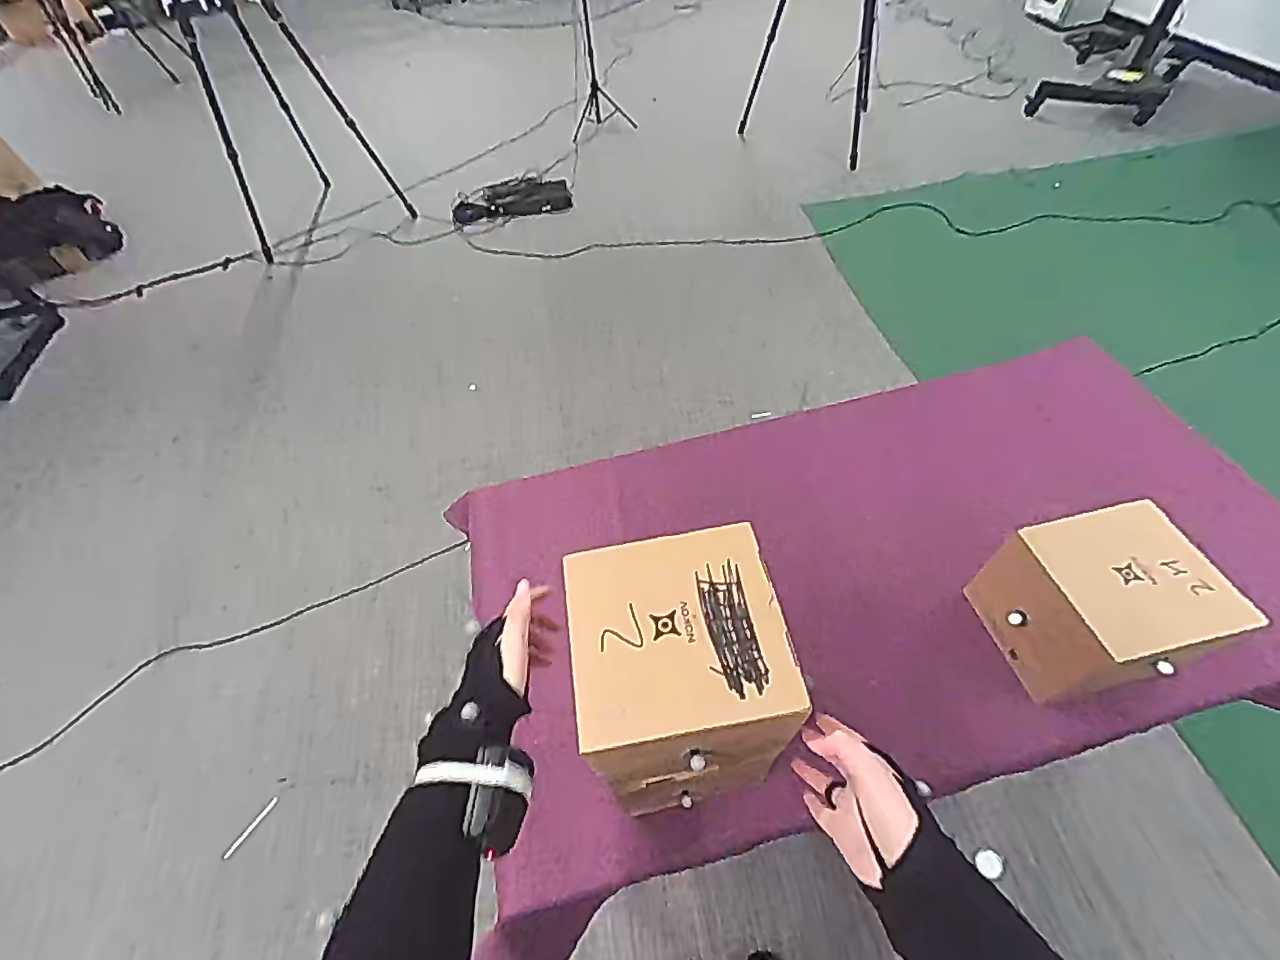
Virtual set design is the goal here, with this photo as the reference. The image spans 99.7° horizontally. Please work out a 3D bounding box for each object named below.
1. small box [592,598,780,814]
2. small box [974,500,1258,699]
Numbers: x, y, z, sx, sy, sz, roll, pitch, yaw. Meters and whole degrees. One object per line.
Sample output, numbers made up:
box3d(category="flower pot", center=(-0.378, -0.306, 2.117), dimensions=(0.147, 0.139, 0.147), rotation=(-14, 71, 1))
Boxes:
box3d(category="small box", center=(0.045, 0.267, 0.634), dimensions=(0.168, 0.176, 0.179), rotation=(-13, 54, -5))
box3d(category="small box", center=(0.552, 0.152, 0.668), dimensions=(0.179, 0.176, 0.168), rotation=(-13, 53, -4))
